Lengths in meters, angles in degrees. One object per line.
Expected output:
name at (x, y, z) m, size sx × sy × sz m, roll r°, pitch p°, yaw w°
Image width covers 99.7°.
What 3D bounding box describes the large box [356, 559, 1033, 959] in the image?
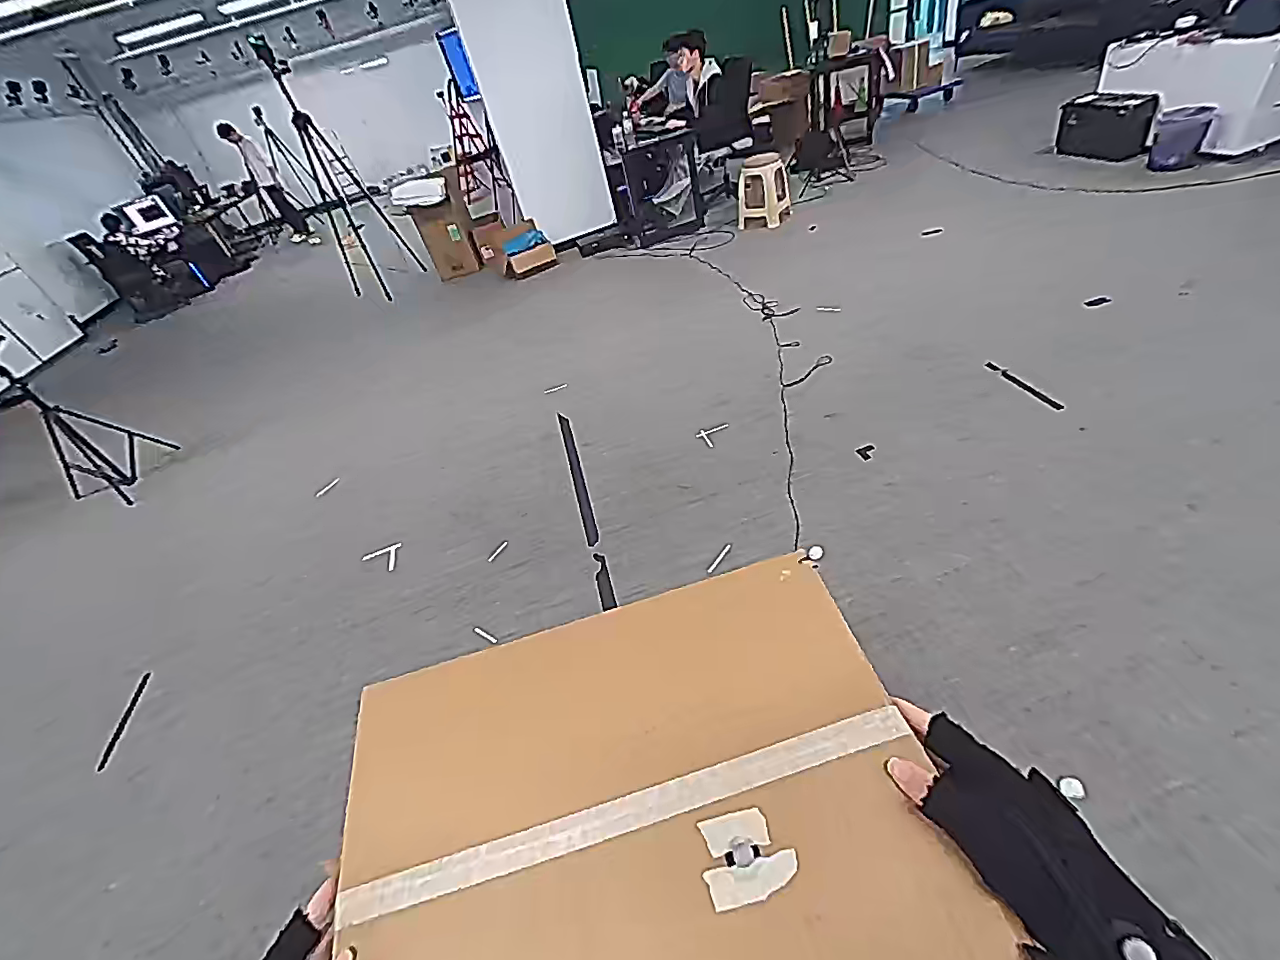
large box at (0.019, 0.334, 0.493) m, size 0.408 × 0.320 × 0.320 m, roll -16°, pitch 47°, yaw -3°
